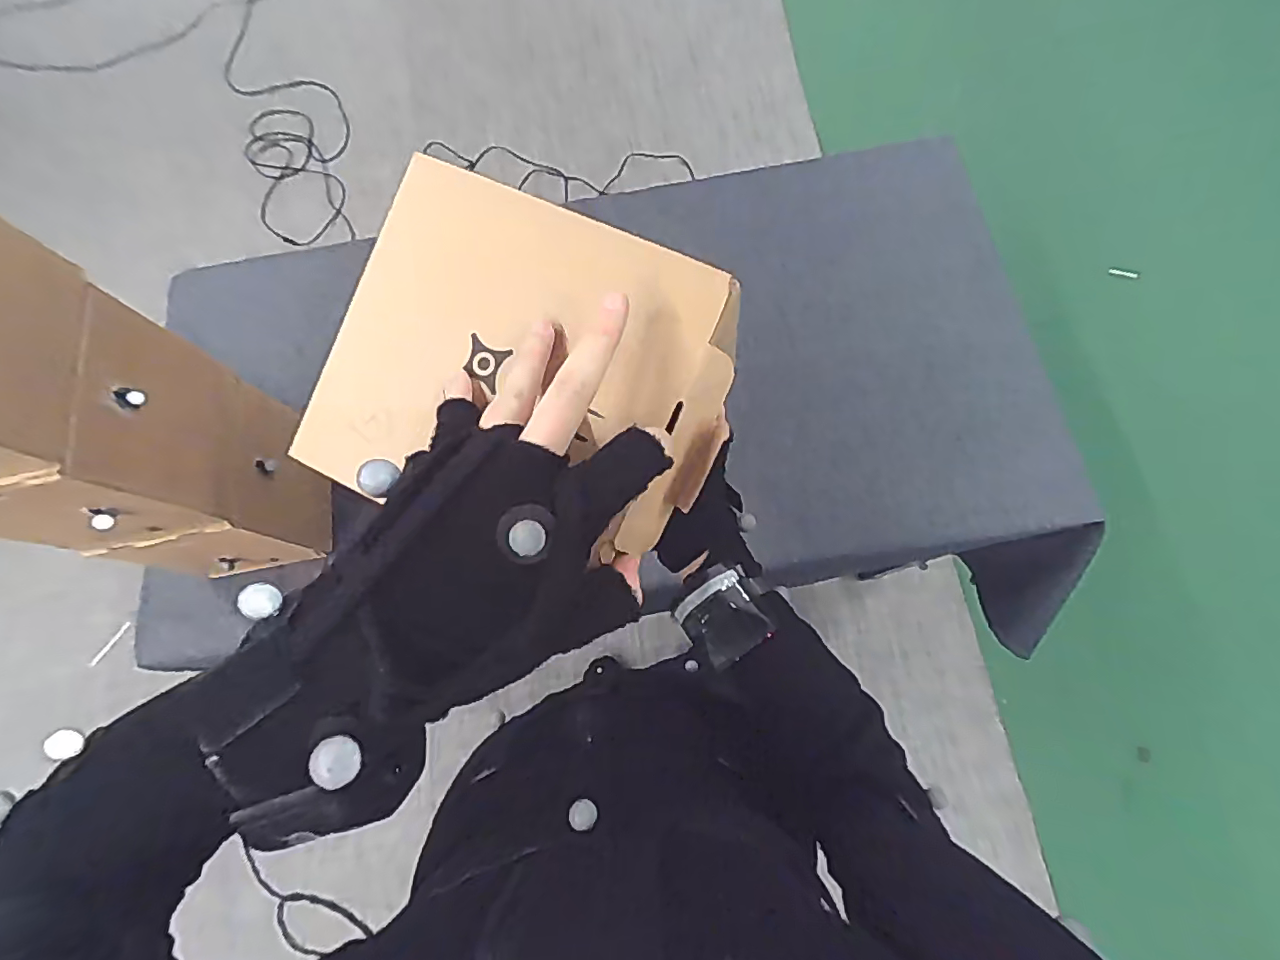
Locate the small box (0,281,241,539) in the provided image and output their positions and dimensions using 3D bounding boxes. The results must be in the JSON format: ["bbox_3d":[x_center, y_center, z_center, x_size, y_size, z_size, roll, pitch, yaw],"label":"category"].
[{"bbox_3d":[-0.512,-0.048,0.502,0.168,0.176,0.179,-10,73,0],"label":"small box"}]

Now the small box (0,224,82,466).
[{"bbox_3d":[-0.525,-0.102,0.348,0.168,0.176,0.179,-11,72,-1],"label":"small box"}]

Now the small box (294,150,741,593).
[{"bbox_3d":[-0.053,-0.053,0.336,0.179,0.176,0.168,26,93,8],"label":"small box"}]

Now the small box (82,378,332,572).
[{"bbox_3d":[-0.502,0.003,0.656,0.168,0.176,0.179,-11,73,1],"label":"small box"}]
